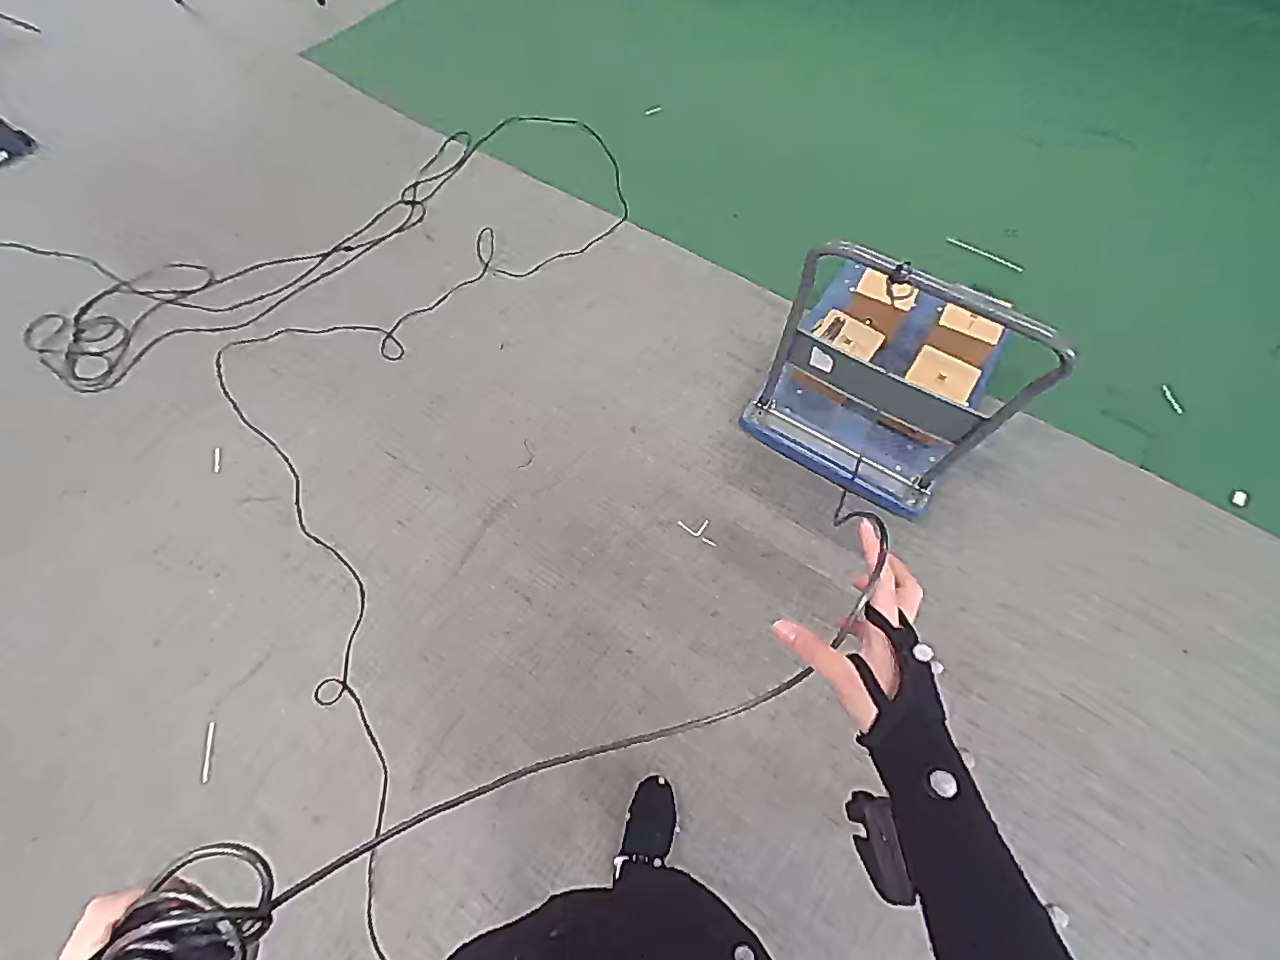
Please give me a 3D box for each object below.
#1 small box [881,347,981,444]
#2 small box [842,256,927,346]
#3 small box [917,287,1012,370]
[{"bbox_3d":[0.817,-0.236,1.536,0.168,0.176,0.179,33,70,15],"label":"small box"},{"bbox_3d":[0.753,-0.552,1.686,0.168,0.176,0.179,28,68,13],"label":"small box"},{"bbox_3d":[0.970,-0.438,1.629,0.168,0.176,0.179,28,69,14],"label":"small box"}]
